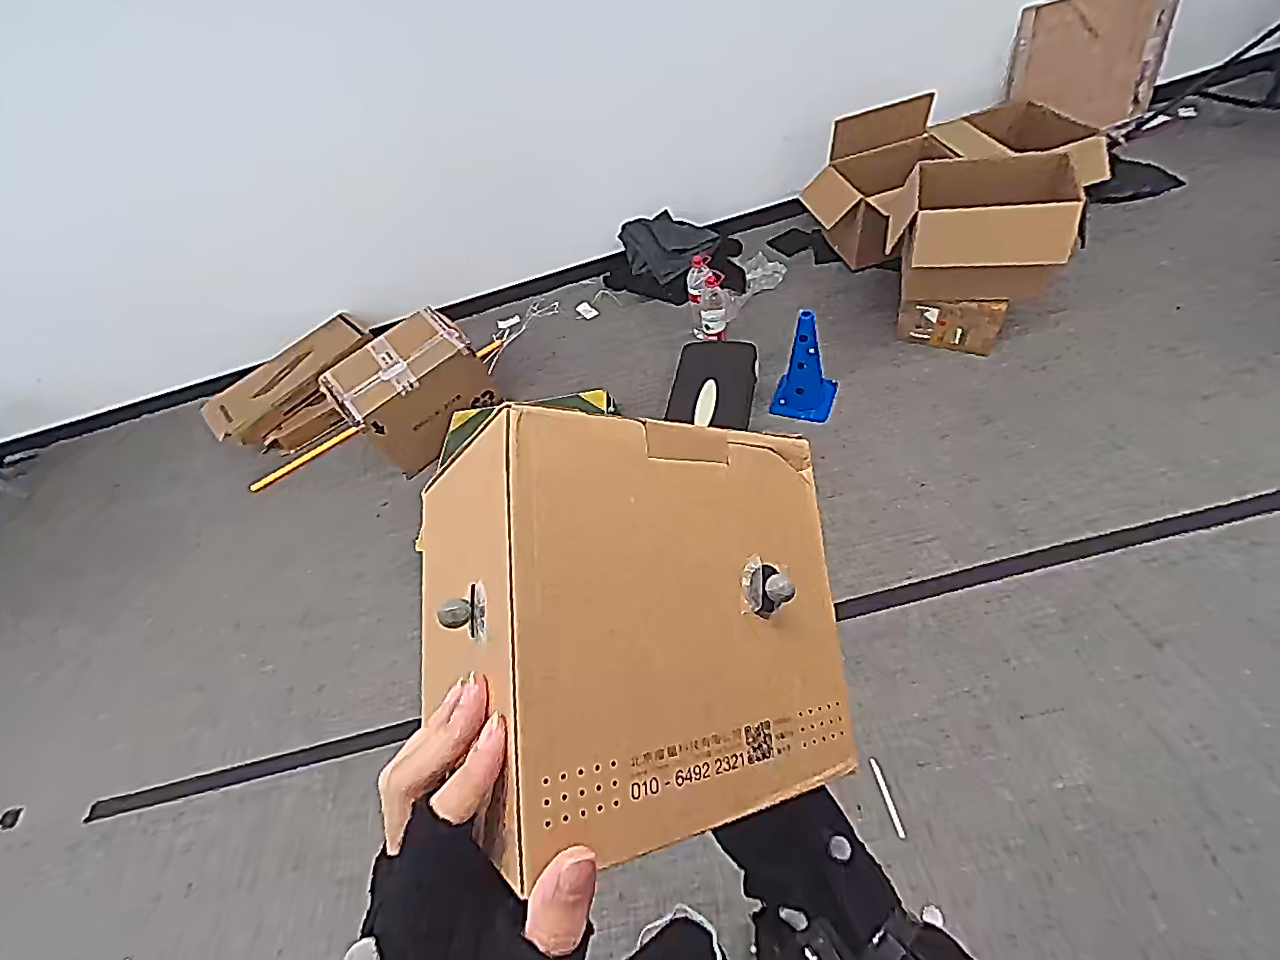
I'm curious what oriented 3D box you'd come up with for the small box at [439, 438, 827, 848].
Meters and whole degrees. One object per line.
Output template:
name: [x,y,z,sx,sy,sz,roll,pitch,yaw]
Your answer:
small box: [-0.016,0.083,0.317,0.168,0.179,0.176,3,75,-31]
